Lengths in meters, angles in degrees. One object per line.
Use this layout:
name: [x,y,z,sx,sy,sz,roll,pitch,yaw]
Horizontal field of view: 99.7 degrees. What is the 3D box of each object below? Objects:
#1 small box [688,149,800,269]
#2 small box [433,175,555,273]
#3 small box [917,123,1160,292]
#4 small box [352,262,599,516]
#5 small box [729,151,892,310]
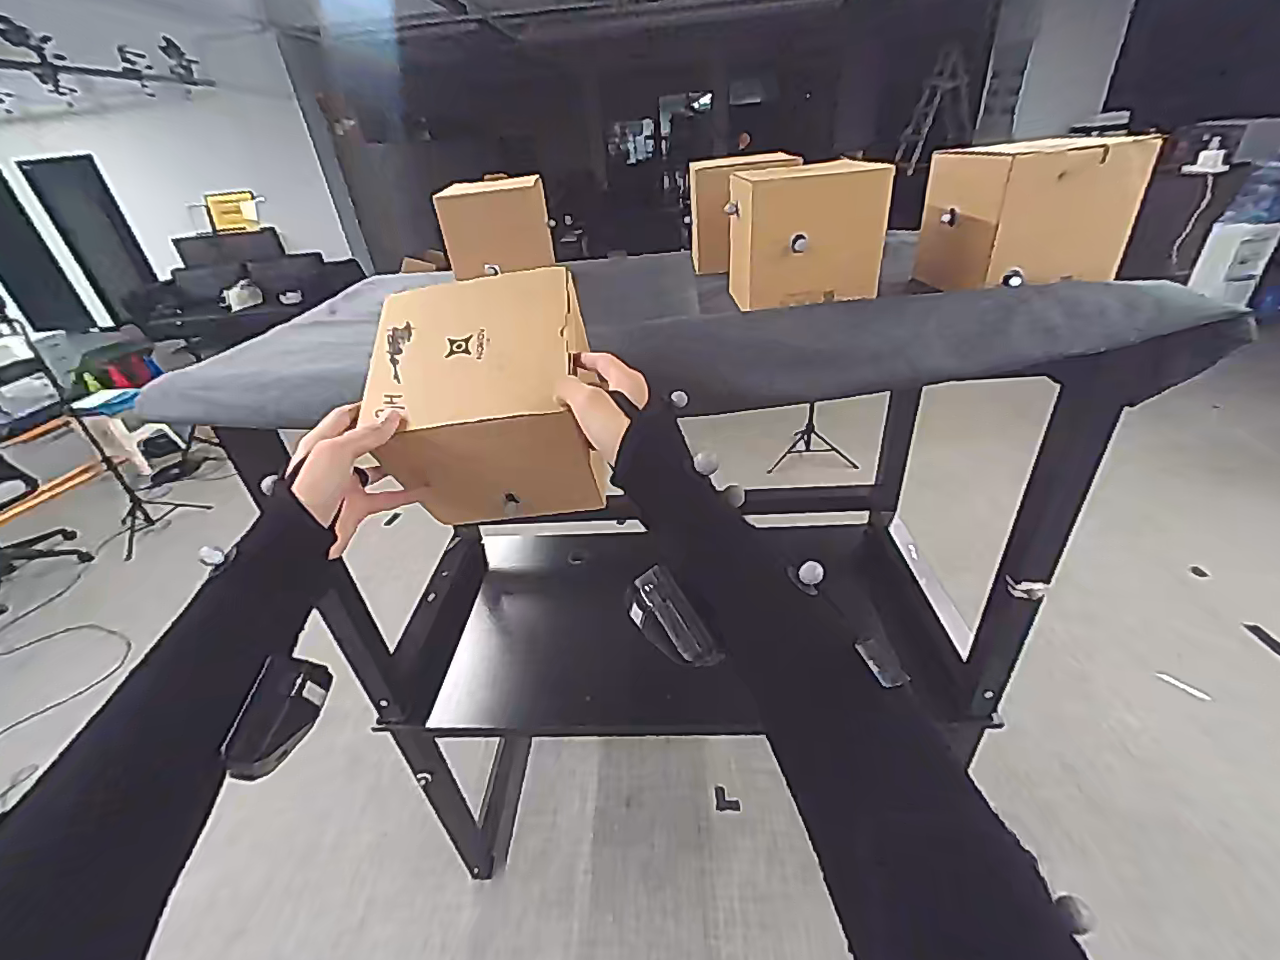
small box: [0.180,-0.484,0.967,0.179,0.176,0.168,-3,33,4]
small box: [-0.252,-0.447,0.981,0.168,0.176,0.179,-8,33,-1]
small box: [0.487,-0.346,0.696,0.168,0.176,0.179,-6,31,0]
small box: [-0.135,-0.078,0.521,0.179,0.176,0.168,-7,60,3]
small box: [0.214,-0.331,0.724,0.168,0.176,0.179,-5,31,3]
